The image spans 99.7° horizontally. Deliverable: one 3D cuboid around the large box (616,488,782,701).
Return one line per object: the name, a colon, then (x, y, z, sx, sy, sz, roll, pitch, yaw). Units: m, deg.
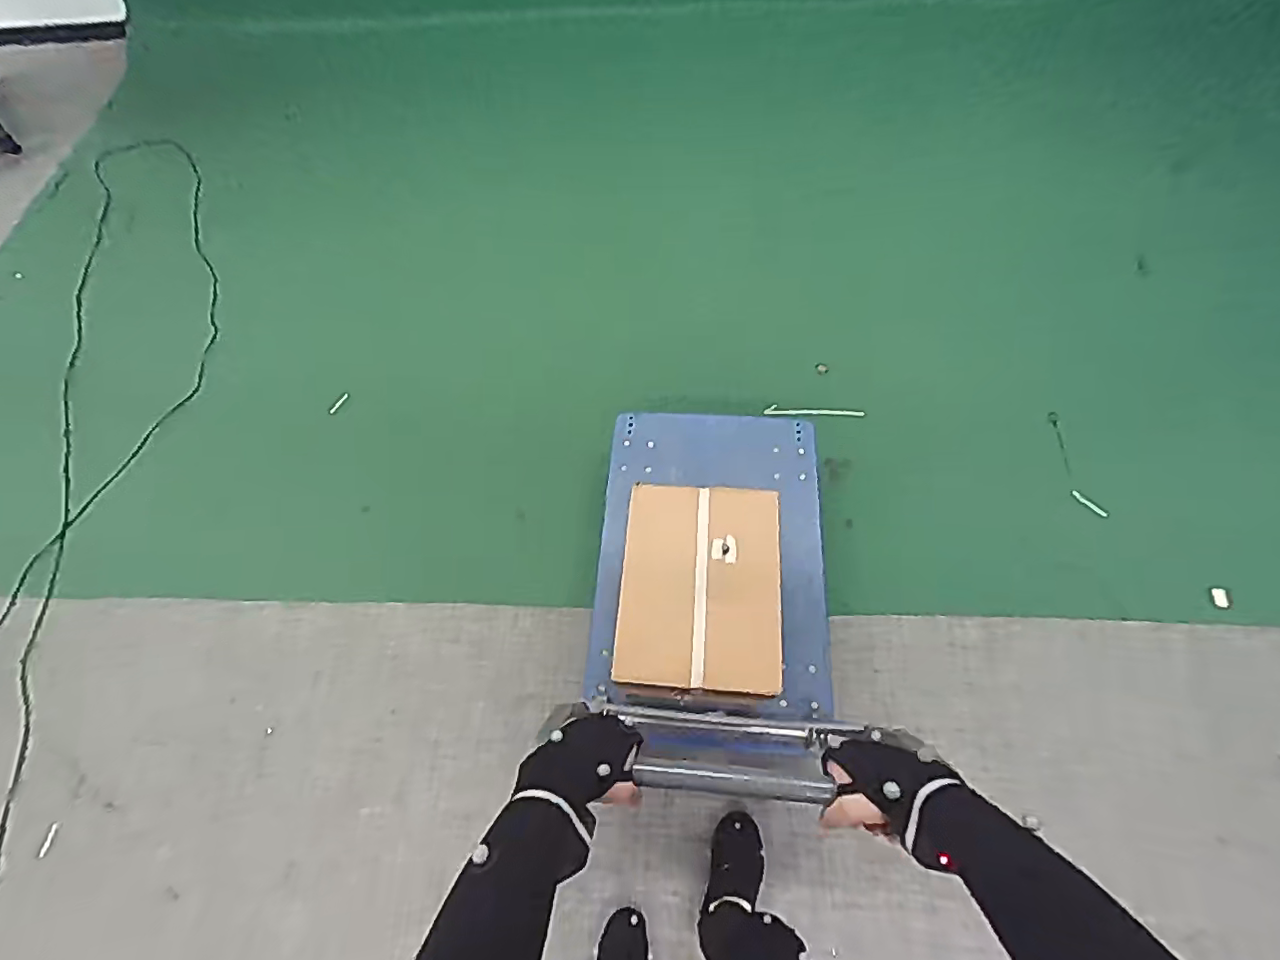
large box: (0.131, 0.266, 1.219, 0.320, 0.320, 0.408, 3, 64, 5)
